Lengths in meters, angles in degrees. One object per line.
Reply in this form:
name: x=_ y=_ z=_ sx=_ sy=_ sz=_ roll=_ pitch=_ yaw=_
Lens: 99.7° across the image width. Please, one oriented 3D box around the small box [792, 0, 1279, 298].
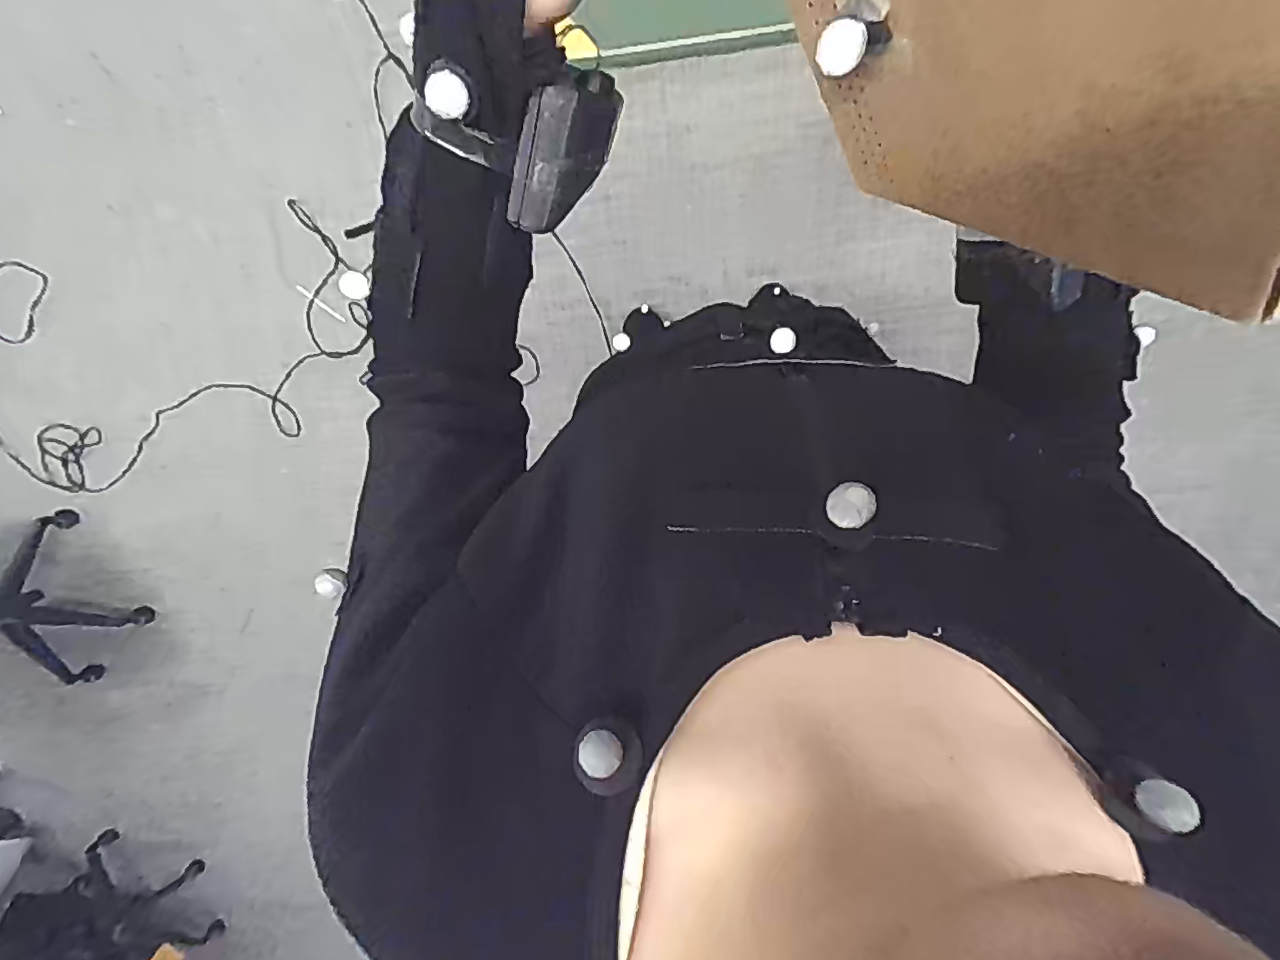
small box: x=0.147 y=-0.189 z=0.136 sx=0.168 sy=0.176 sz=0.179 roll=-46 pitch=137 yaw=11
